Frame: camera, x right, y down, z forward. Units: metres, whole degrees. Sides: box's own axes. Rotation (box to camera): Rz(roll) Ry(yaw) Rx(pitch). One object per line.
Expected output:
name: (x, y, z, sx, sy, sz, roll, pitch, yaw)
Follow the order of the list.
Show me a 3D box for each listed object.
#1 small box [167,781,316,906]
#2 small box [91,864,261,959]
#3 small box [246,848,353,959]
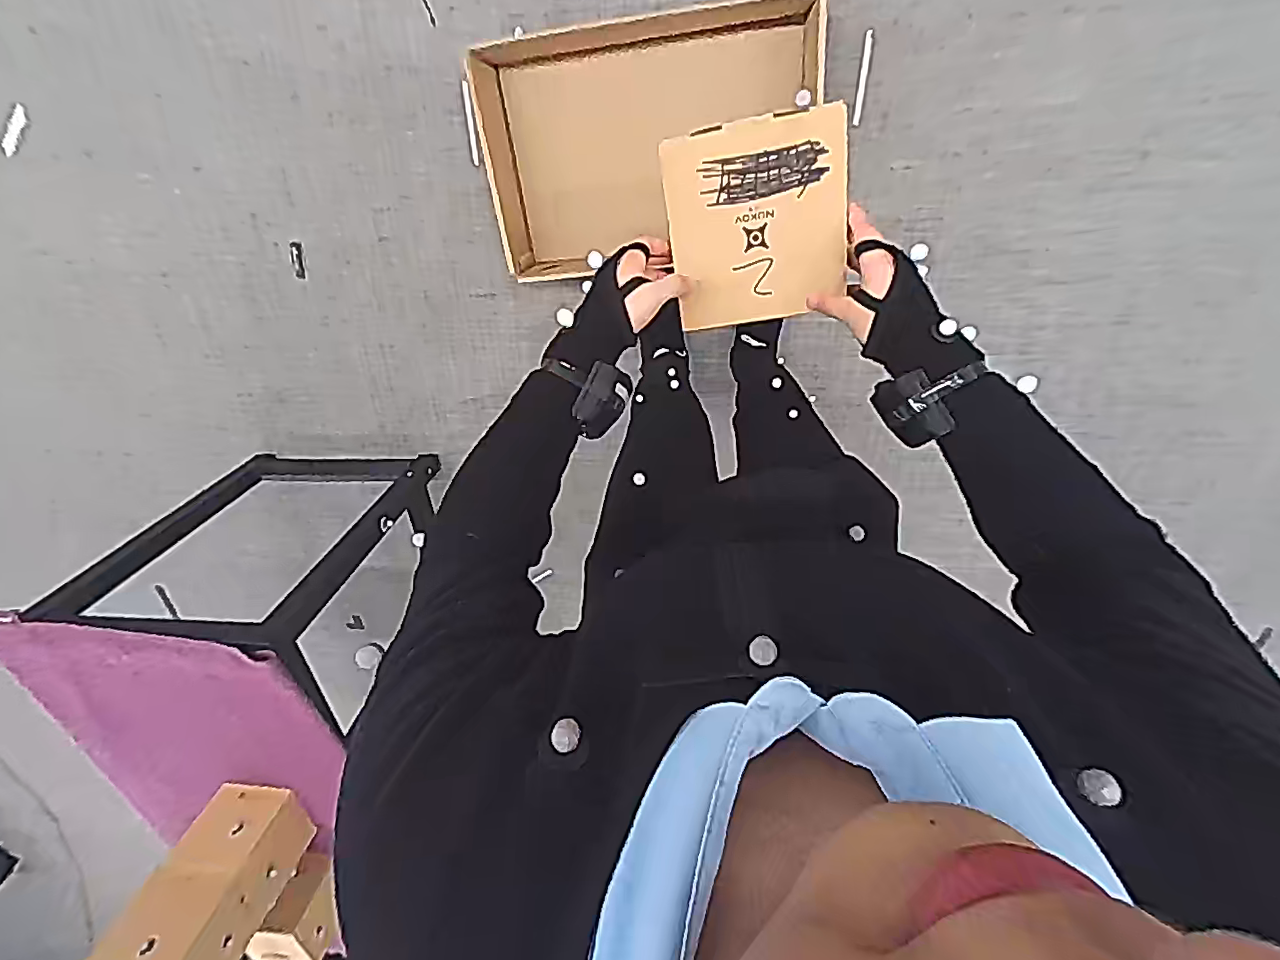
small box: (-0.854, 0.785, 1.179, 0.168, 0.176, 0.179, 2, 121, 5)
small box: (-0.877, 0.875, 1.042, 0.179, 0.176, 0.168, 2, 121, 6)
small box: (-0.837, 1.033, 1.321, 0.168, 0.176, 0.179, 1, 120, 5)
